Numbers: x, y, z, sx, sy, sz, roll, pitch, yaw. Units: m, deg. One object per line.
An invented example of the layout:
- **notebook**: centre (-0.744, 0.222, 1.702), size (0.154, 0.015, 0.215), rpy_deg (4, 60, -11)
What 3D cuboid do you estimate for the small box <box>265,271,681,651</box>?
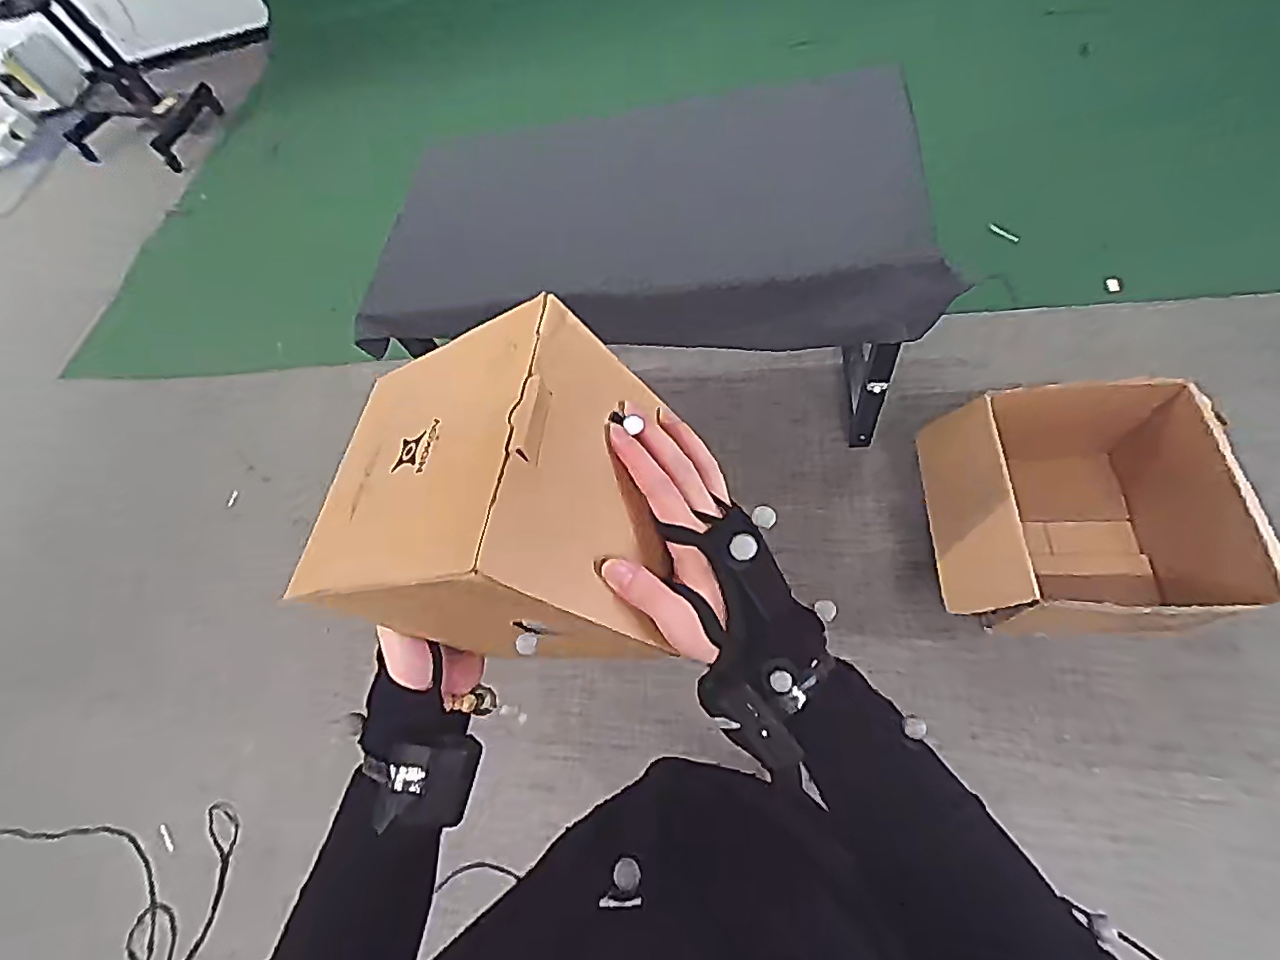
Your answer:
- **small box**: centre (-0.089, 0.009, 0.354), size (0.179, 0.176, 0.168), rpy_deg (-15, 54, 34)
